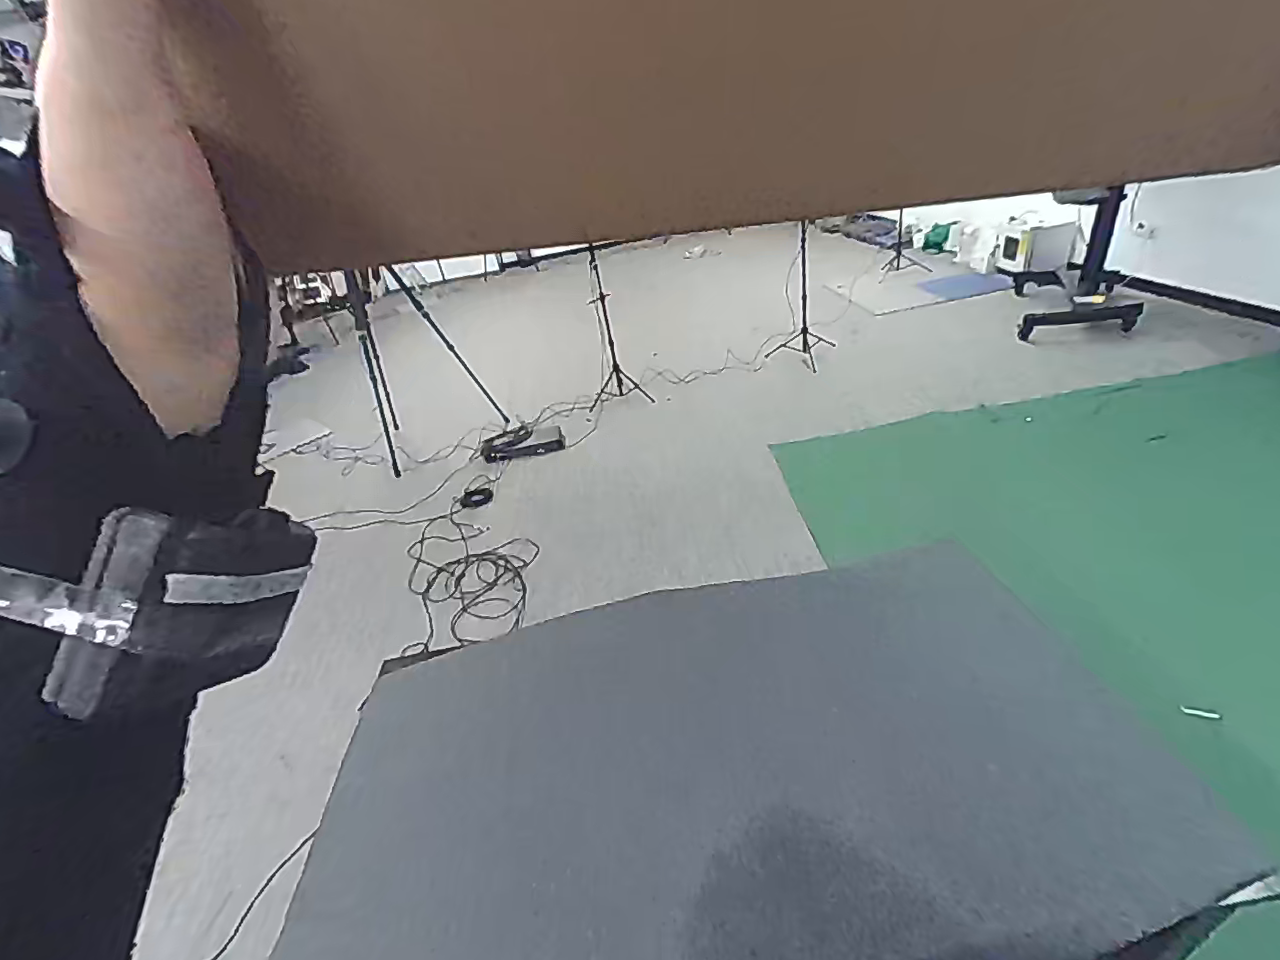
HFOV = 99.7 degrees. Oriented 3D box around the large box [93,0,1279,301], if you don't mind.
[{"bbox_3d":[0.023,-0.302,0.207,0.408,0.320,0.320,-7,51,-2],"label":"large box"}]
